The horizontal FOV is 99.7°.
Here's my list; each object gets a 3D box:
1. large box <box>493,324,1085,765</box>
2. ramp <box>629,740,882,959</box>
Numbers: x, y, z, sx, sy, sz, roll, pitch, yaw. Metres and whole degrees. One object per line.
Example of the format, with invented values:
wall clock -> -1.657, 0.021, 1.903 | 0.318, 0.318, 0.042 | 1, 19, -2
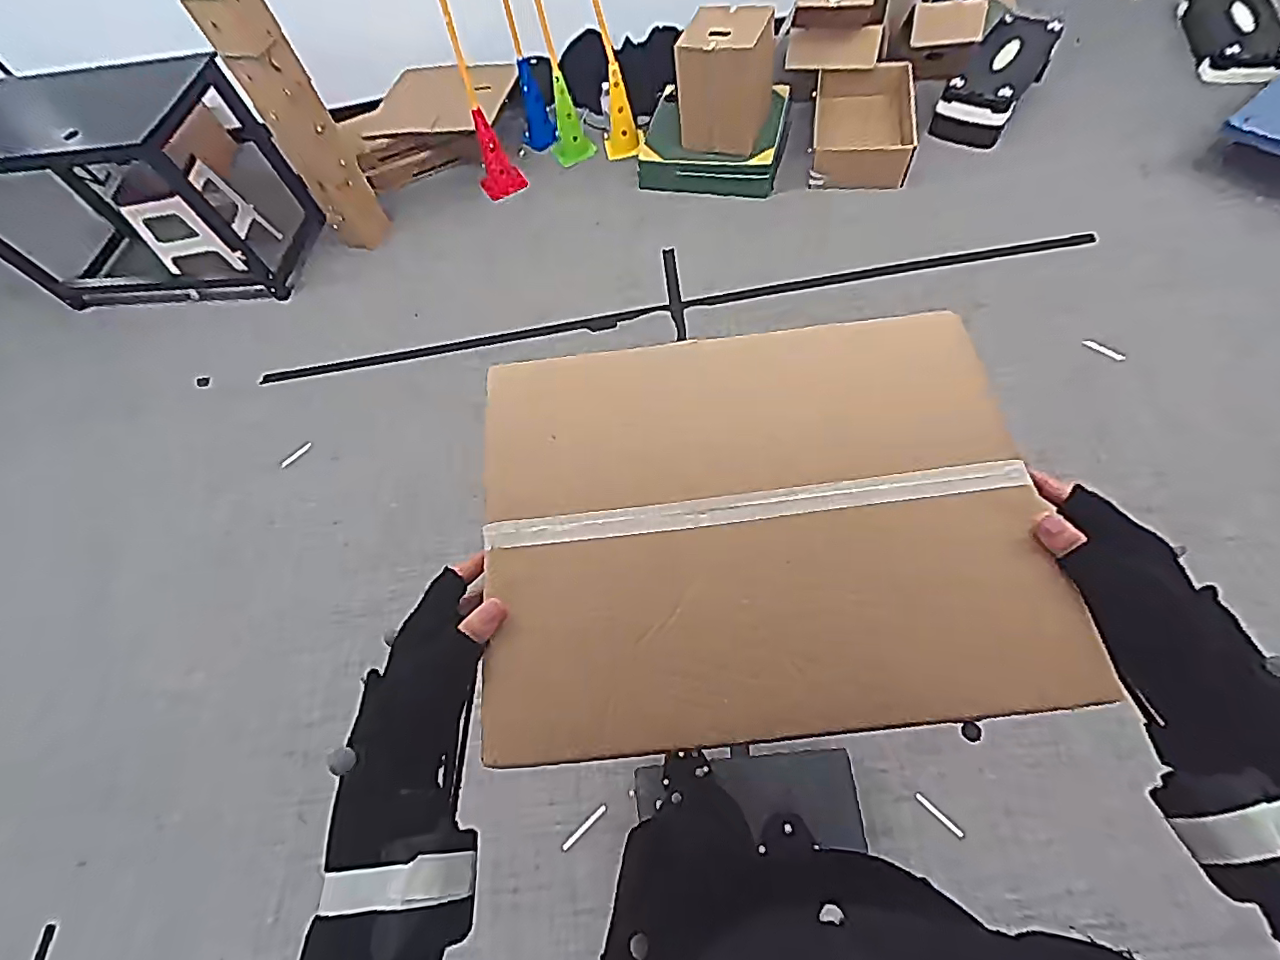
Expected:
large box -> 0.094, 0.083, 0.551 | 0.408, 0.320, 0.320 | -6, 66, 1
ramp -> 0.268, 1.093, 1.100 | 0.509, 0.206, 0.991 | -8, 62, 2
